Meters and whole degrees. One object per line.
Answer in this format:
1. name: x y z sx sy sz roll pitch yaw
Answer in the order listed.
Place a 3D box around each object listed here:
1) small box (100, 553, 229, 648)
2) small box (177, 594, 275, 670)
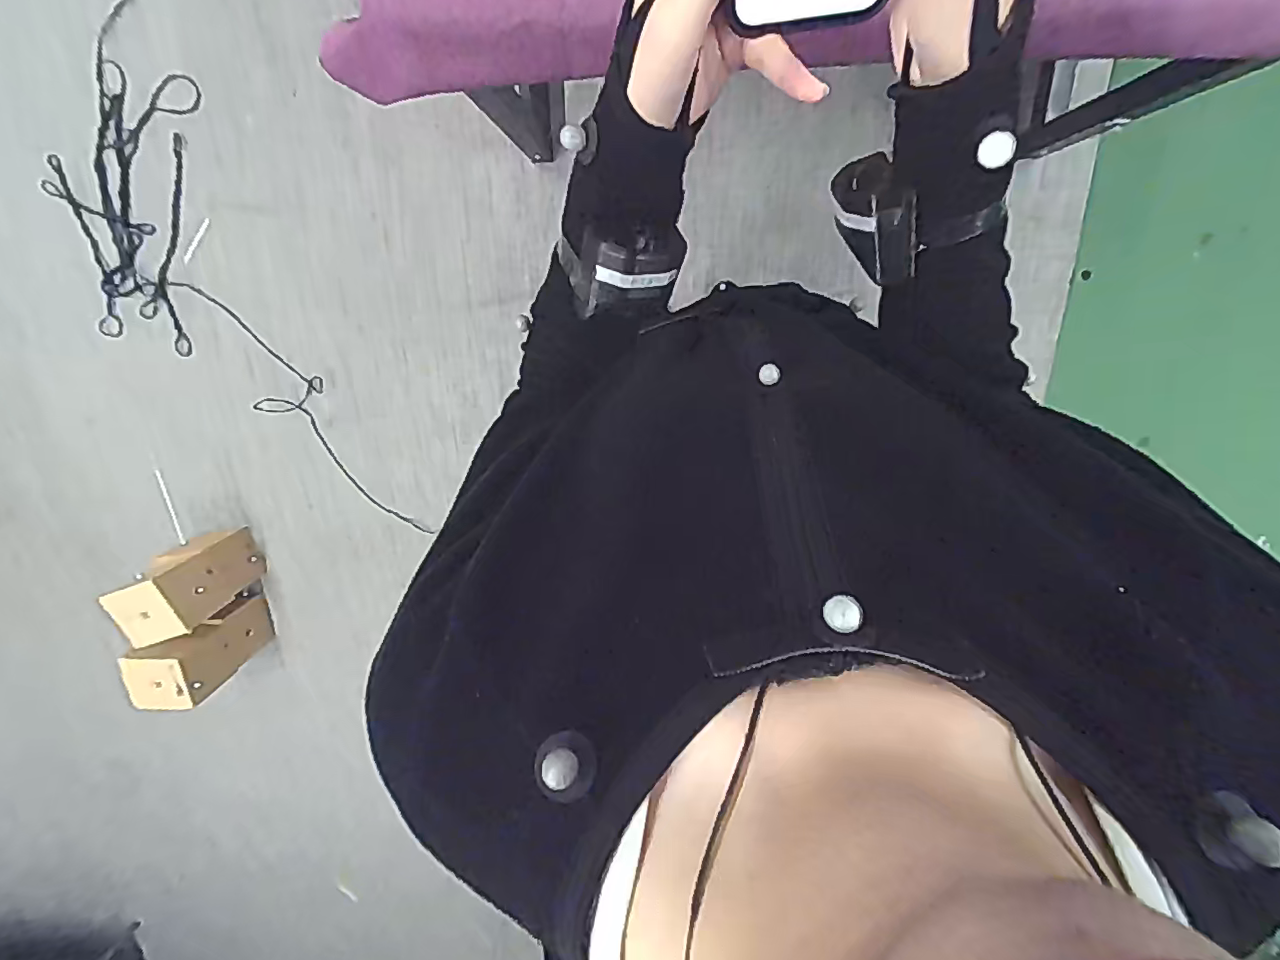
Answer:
1. small box: -1.266 0.320 1.462 0.179 0.176 0.168 -17 107 10
2. small box: -1.285 0.467 1.682 0.168 0.176 0.179 0 109 5
